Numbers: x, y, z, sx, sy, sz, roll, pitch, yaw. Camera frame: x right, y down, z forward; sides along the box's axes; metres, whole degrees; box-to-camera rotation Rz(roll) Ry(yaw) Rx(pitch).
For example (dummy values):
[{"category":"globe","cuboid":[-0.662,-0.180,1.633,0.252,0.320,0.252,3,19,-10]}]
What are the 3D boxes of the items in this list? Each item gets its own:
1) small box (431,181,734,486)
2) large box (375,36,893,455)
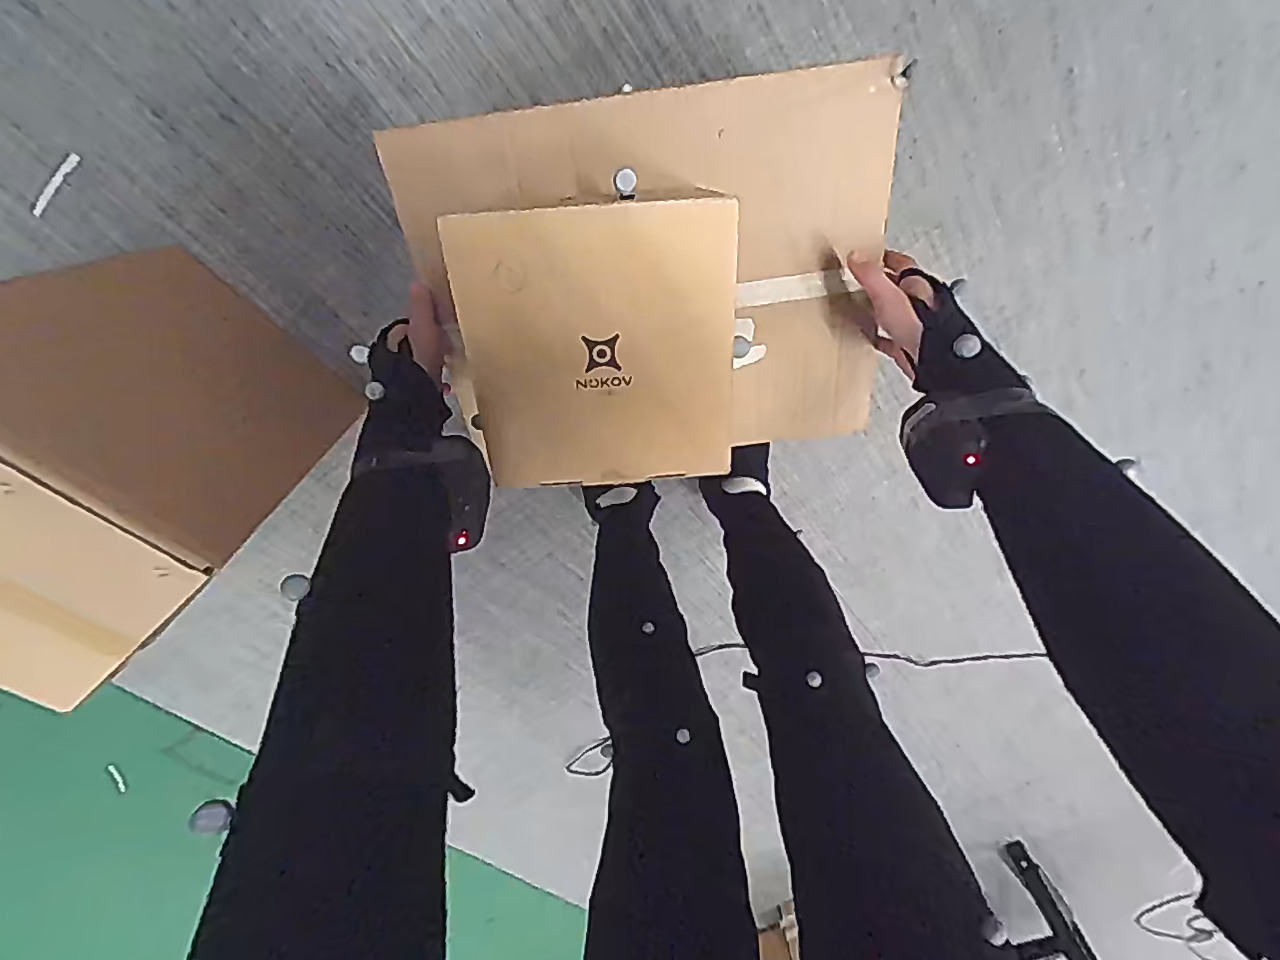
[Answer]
[{"category":"small box","cuboid":[-0.031,-0.116,0.397,0.168,0.176,0.179,-4,121,0]},{"category":"large box","cuboid":[0.003,-0.242,0.607,0.408,0.320,0.320,-9,122,1]}]
